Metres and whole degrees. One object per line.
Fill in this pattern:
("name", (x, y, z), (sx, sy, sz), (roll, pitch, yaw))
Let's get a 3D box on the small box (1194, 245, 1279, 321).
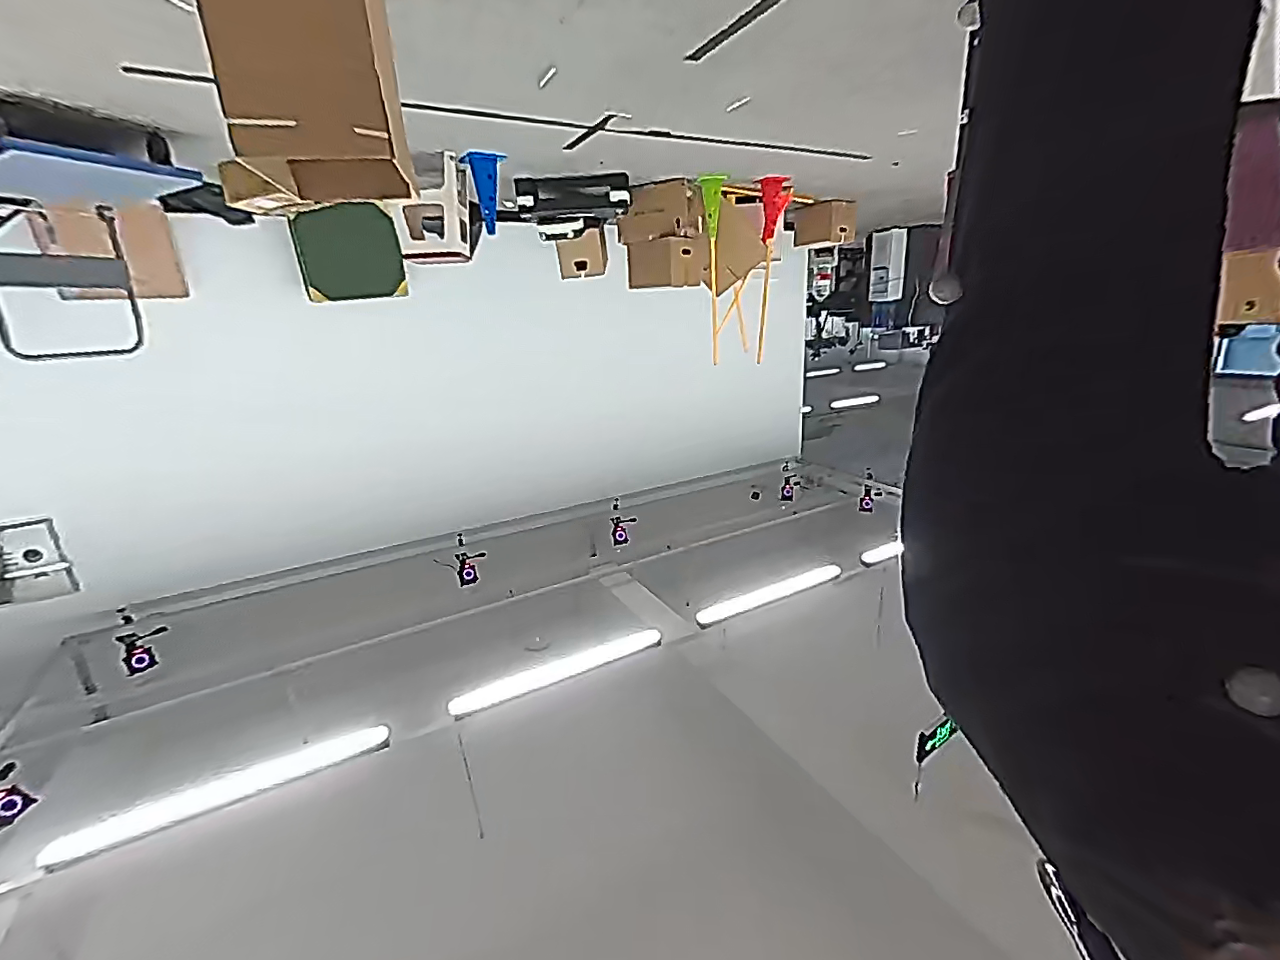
("small box", (1.529, -0.485, 1.324), (0.168, 0.176, 0.179), (-11, -160, -23))
